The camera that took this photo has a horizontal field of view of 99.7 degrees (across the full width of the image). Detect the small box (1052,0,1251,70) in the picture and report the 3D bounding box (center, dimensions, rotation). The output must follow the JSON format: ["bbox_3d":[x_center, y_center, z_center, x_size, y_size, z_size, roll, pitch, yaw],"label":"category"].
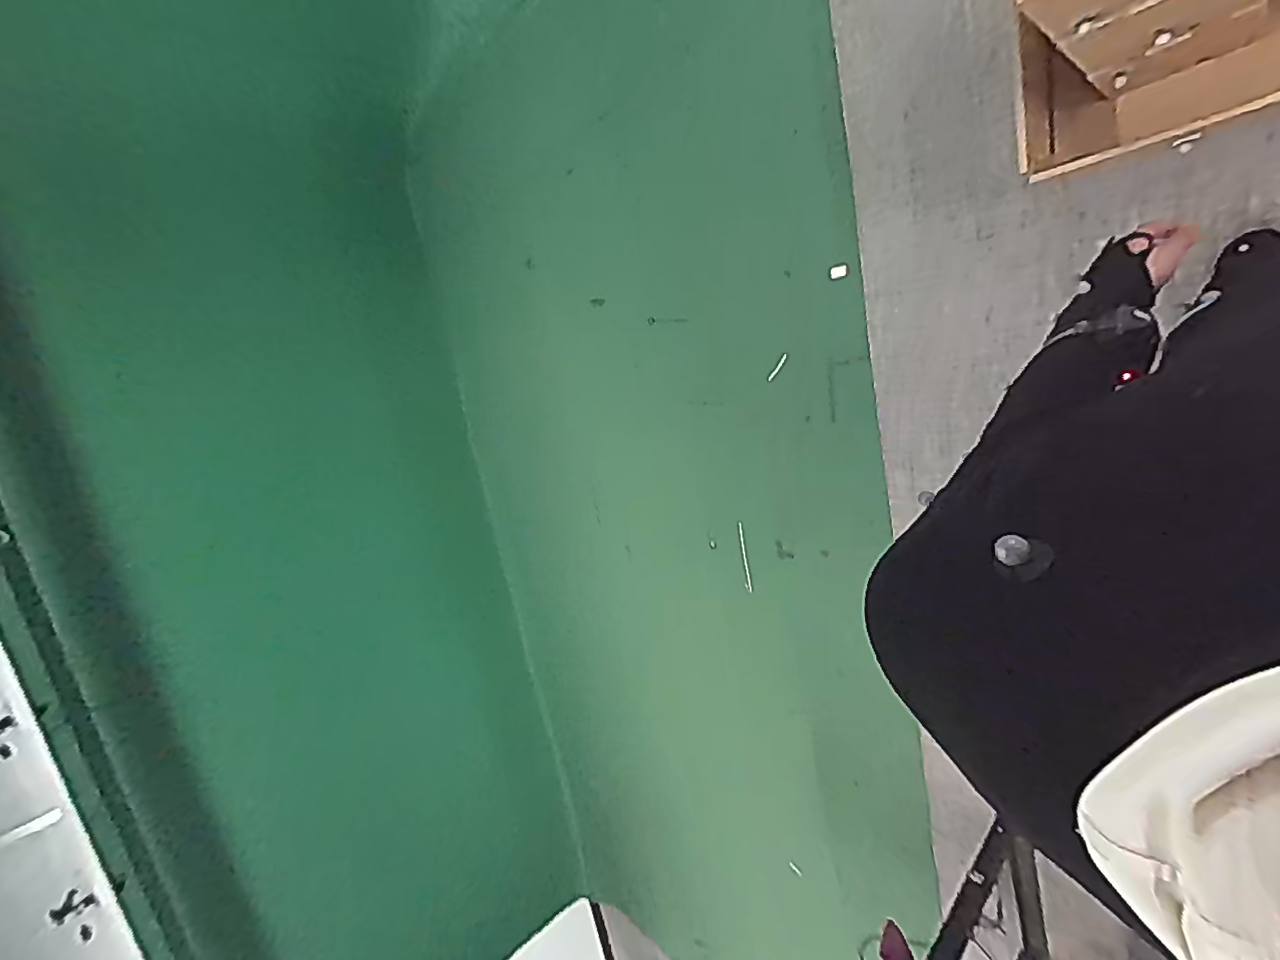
[{"bbox_3d":[0.591,-0.620,0.620,0.168,0.176,0.179,2,107,49],"label":"small box"}]

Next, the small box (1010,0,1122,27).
[{"bbox_3d":[0.467,-0.583,0.519,0.168,0.176,0.179,-1,104,49],"label":"small box"}]
